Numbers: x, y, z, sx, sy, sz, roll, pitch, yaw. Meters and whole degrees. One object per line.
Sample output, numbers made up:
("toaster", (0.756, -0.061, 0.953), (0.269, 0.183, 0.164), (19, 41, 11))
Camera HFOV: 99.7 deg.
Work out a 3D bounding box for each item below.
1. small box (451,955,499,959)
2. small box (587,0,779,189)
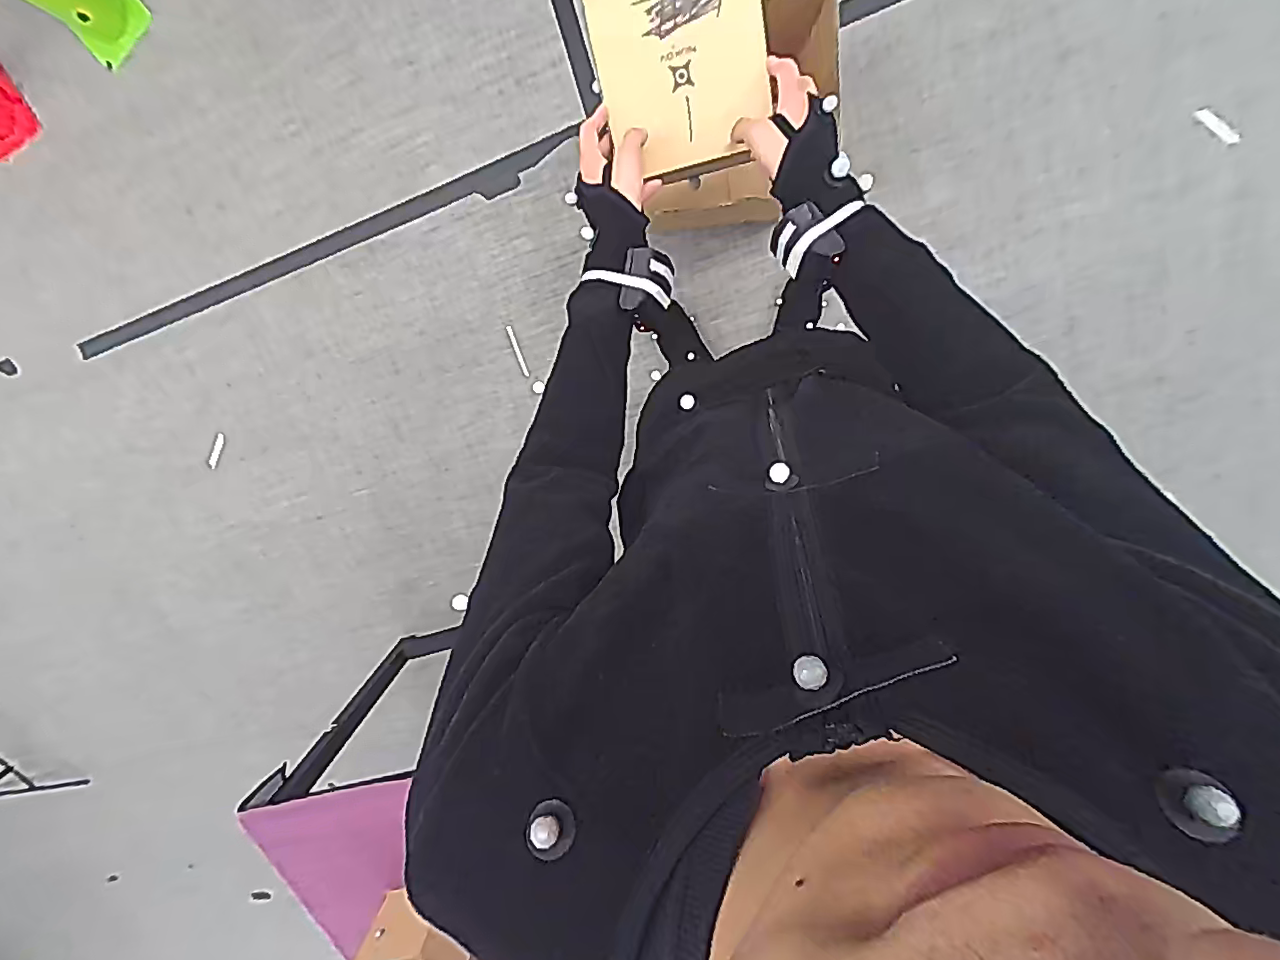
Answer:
("small box", (-0.422, 1.317, 1.330), (0.179, 0.176, 0.168), (-19, 106, 12))
("small box", (0.050, -0.437, 0.593), (0.168, 0.176, 0.179), (-9, 115, 11))
